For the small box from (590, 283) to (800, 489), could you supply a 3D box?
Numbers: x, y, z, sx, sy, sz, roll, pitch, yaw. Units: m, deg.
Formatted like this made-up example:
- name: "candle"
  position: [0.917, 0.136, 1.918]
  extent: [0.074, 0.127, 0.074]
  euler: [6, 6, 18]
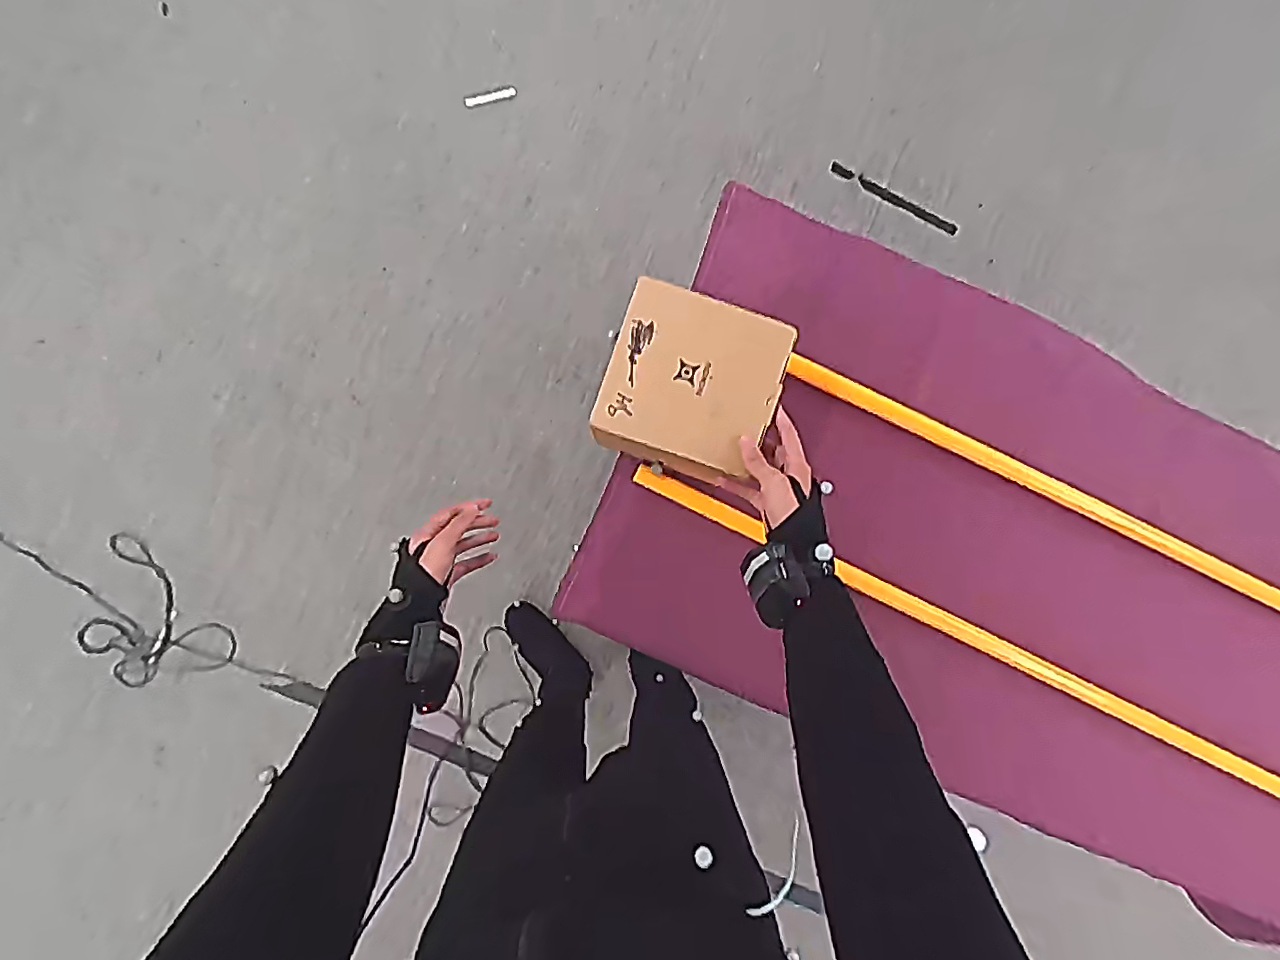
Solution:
- name: "small box"
  position: [0.053, -0.094, 0.626]
  extent: [0.179, 0.176, 0.168]
  euler: [19, 87, -2]
